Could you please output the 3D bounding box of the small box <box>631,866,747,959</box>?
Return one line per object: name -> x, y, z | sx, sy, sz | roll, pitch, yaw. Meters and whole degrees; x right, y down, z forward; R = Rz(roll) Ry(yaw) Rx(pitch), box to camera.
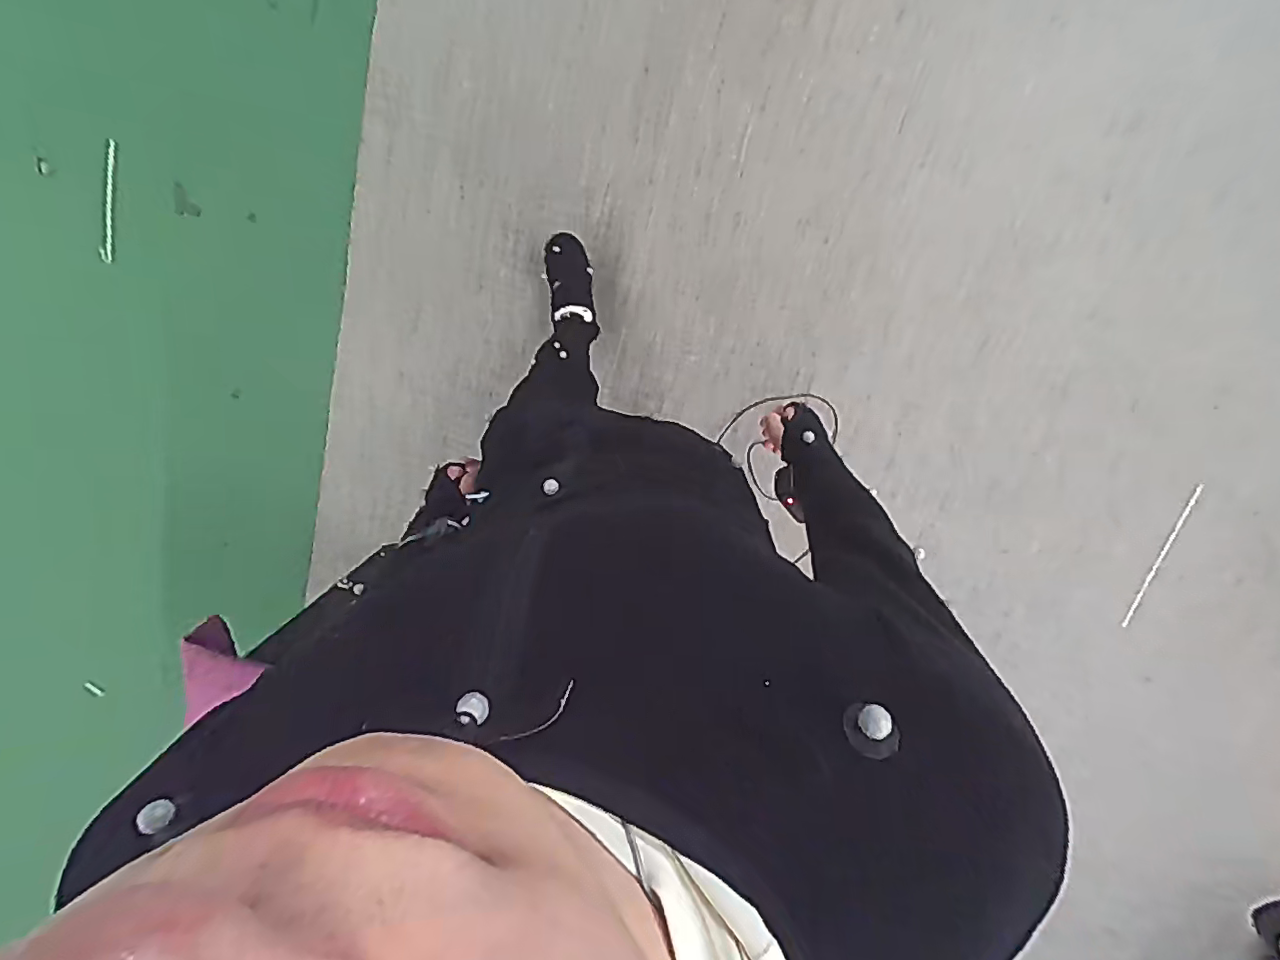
small box -> 0.083, 0.864, 1.002 | 0.179, 0.176, 0.168 | 16, 105, -2
